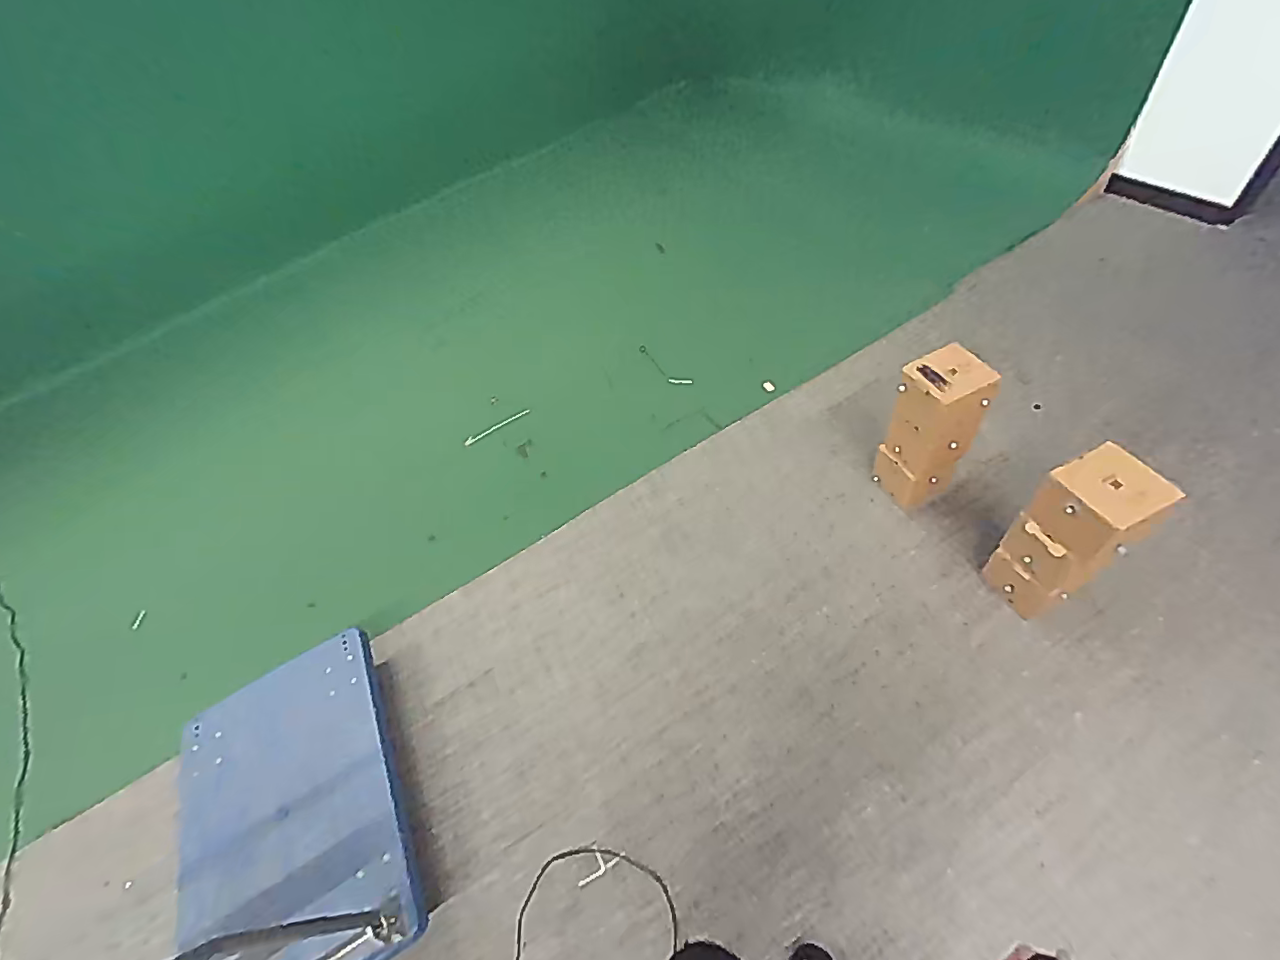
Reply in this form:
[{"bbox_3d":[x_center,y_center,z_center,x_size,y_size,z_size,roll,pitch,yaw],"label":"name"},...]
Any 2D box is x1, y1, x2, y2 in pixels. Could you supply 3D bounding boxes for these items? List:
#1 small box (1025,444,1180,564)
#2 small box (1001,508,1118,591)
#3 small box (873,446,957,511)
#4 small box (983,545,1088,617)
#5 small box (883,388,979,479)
[{"bbox_3d":[1.020,0.057,1.216,0.168,0.176,0.179,-26,52,-4],"label":"small box"},{"bbox_3d":[1.052,0.146,1.349,0.179,0.176,0.168,-25,52,-4],"label":"small box"},{"bbox_3d":[0.879,-0.029,1.753,0.179,0.176,0.168,-26,53,-6],"label":"small box"},{"bbox_3d":[1.078,0.246,1.477,0.179,0.176,0.168,-29,53,-6],"label":"small box"},{"bbox_3d":[0.856,-0.136,1.611,0.179,0.176,0.168,-27,53,-5],"label":"small box"}]
